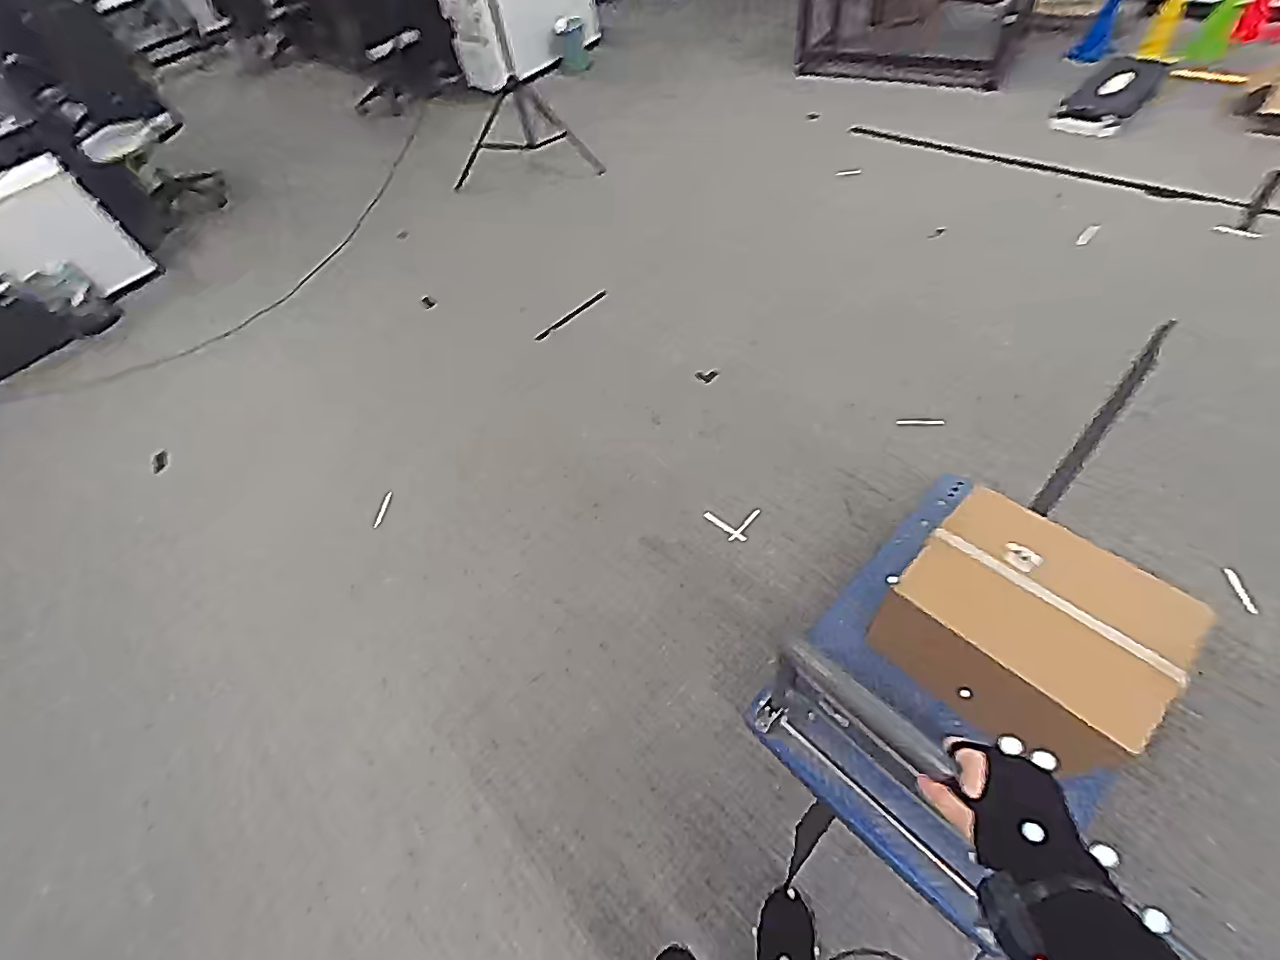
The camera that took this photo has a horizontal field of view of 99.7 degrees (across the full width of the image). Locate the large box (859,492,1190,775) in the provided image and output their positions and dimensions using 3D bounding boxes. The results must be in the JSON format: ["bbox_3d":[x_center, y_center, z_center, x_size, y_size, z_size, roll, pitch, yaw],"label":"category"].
[{"bbox_3d":[0.724,0.305,1.090,0.320,0.320,0.408,-41,57,-19],"label":"large box"}]
